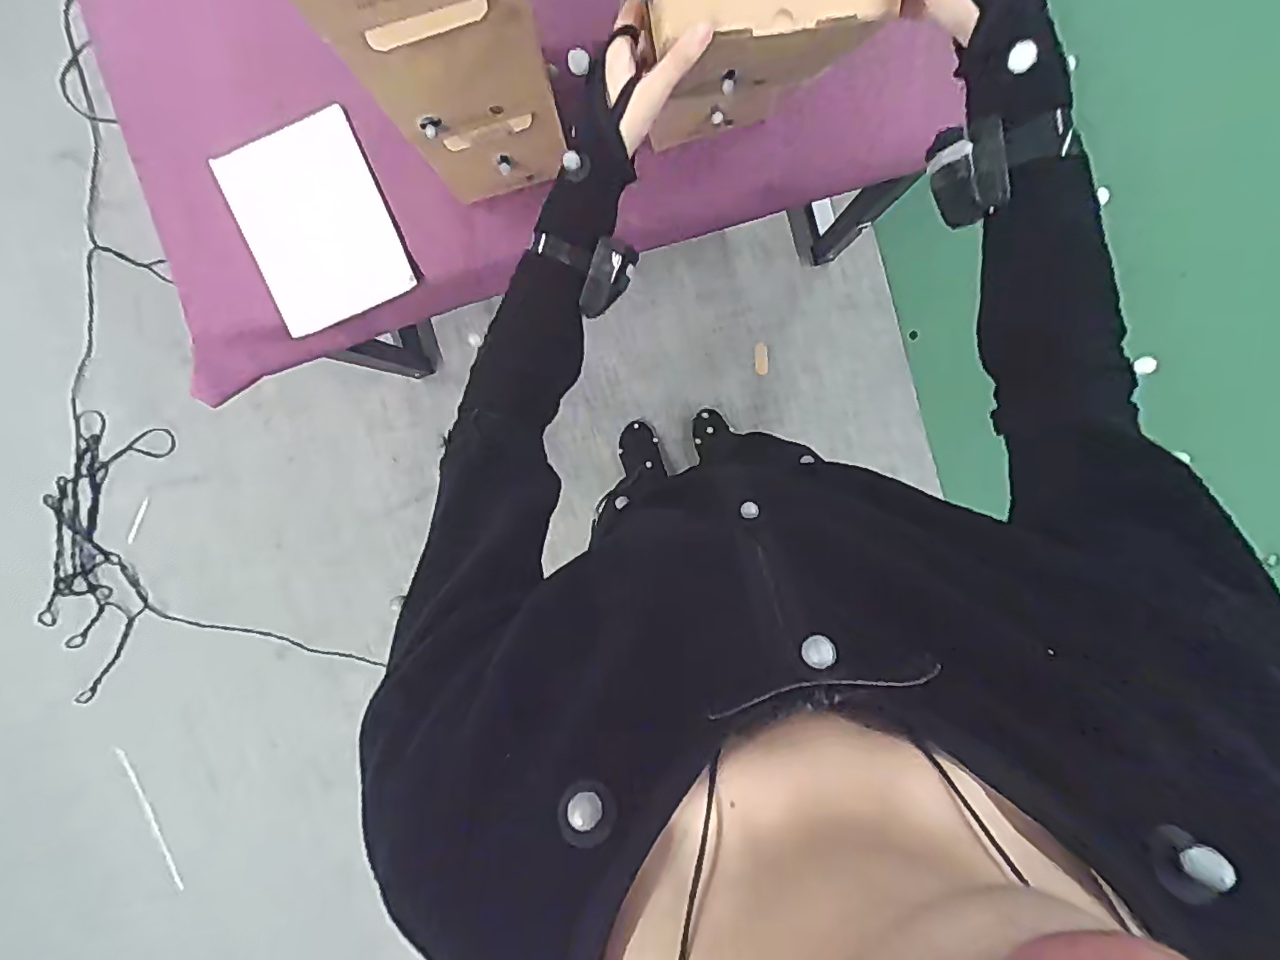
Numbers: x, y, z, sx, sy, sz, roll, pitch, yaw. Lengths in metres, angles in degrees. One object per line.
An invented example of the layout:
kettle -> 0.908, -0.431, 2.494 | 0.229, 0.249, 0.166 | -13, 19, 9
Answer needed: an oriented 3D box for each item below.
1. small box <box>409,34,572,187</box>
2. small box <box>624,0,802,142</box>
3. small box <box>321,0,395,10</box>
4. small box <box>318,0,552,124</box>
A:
small box -> -0.191, -0.490, 0.667 | 0.168, 0.176, 0.179 | -15, 95, 2
small box -> 0.075, -0.558, 0.654 | 0.168, 0.176, 0.179 | -15, 94, 3
small box -> -0.193, -0.451, 0.341 | 0.168, 0.176, 0.179 | -14, 94, 1
small box -> -0.192, -0.470, 0.503 | 0.168, 0.176, 0.179 | -15, 94, 2
